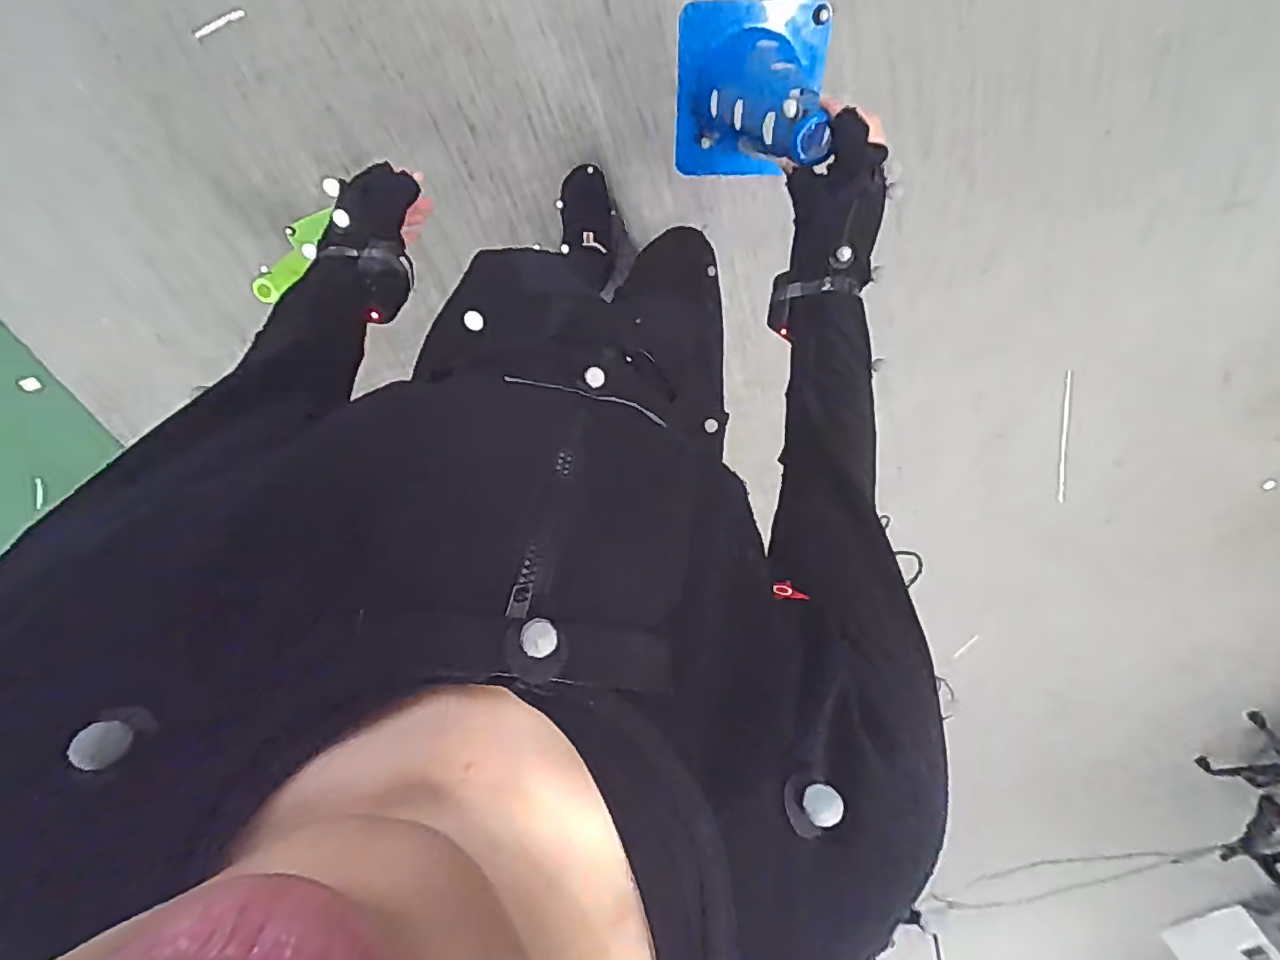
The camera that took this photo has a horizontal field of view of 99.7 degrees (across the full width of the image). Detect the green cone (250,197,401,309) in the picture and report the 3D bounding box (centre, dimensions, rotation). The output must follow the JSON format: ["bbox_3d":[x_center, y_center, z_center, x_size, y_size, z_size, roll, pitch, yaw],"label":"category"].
[{"bbox_3d":[-0.669,-0.420,1.091,0.202,0.368,0.200,-19,122,8],"label":"green cone"}]
